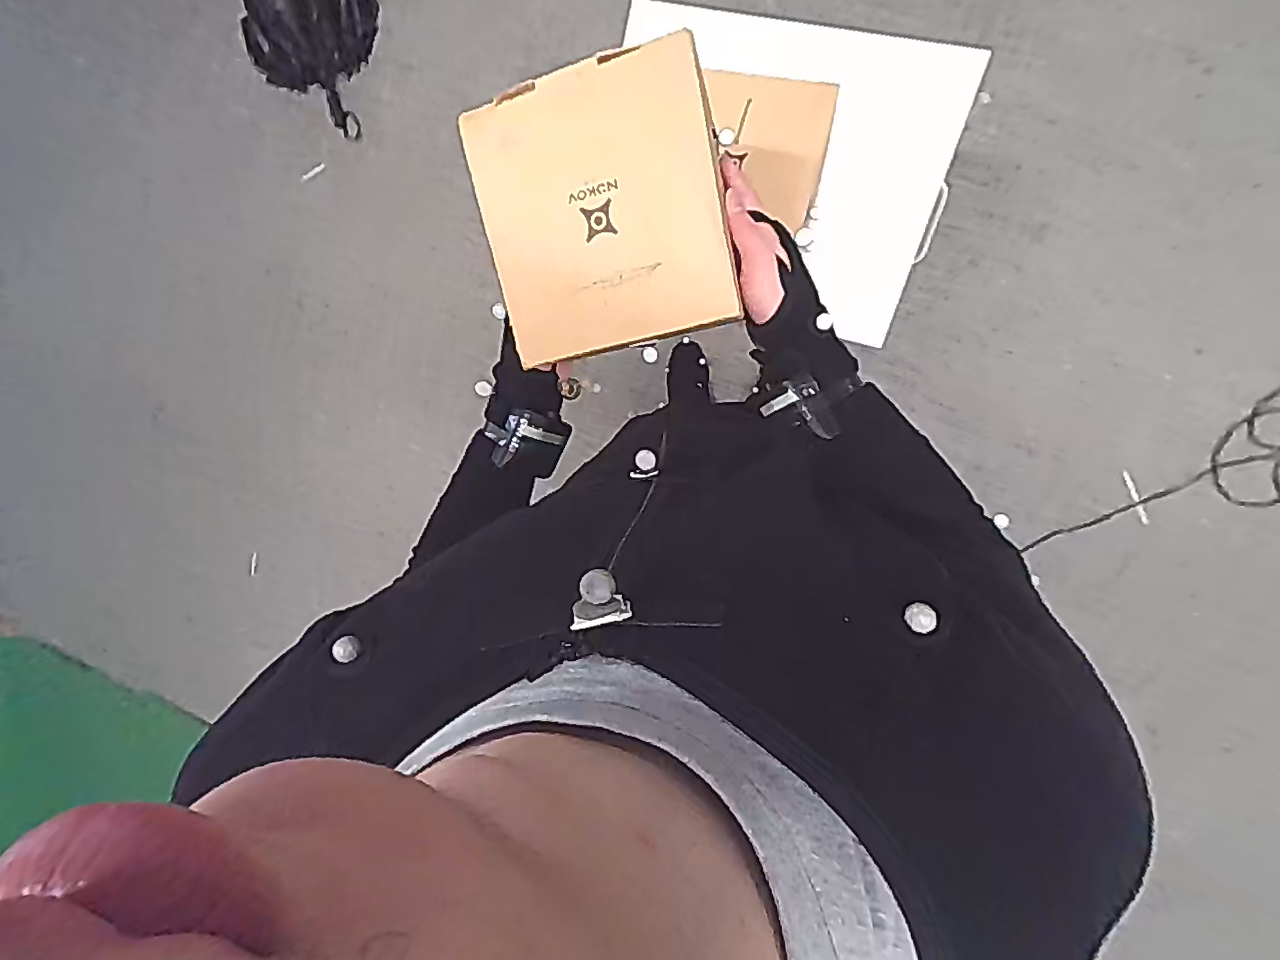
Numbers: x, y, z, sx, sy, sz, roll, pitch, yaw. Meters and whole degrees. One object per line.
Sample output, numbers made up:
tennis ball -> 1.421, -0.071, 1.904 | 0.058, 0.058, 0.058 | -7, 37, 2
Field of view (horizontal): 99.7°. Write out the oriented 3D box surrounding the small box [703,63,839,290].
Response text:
small box -> 0.110, -0.322, 0.605 | 0.168, 0.176, 0.179 | 15, 105, 11

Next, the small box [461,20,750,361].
small box -> -0.009, -0.203, 0.439 | 0.168, 0.176, 0.179 | -11, 102, 16
